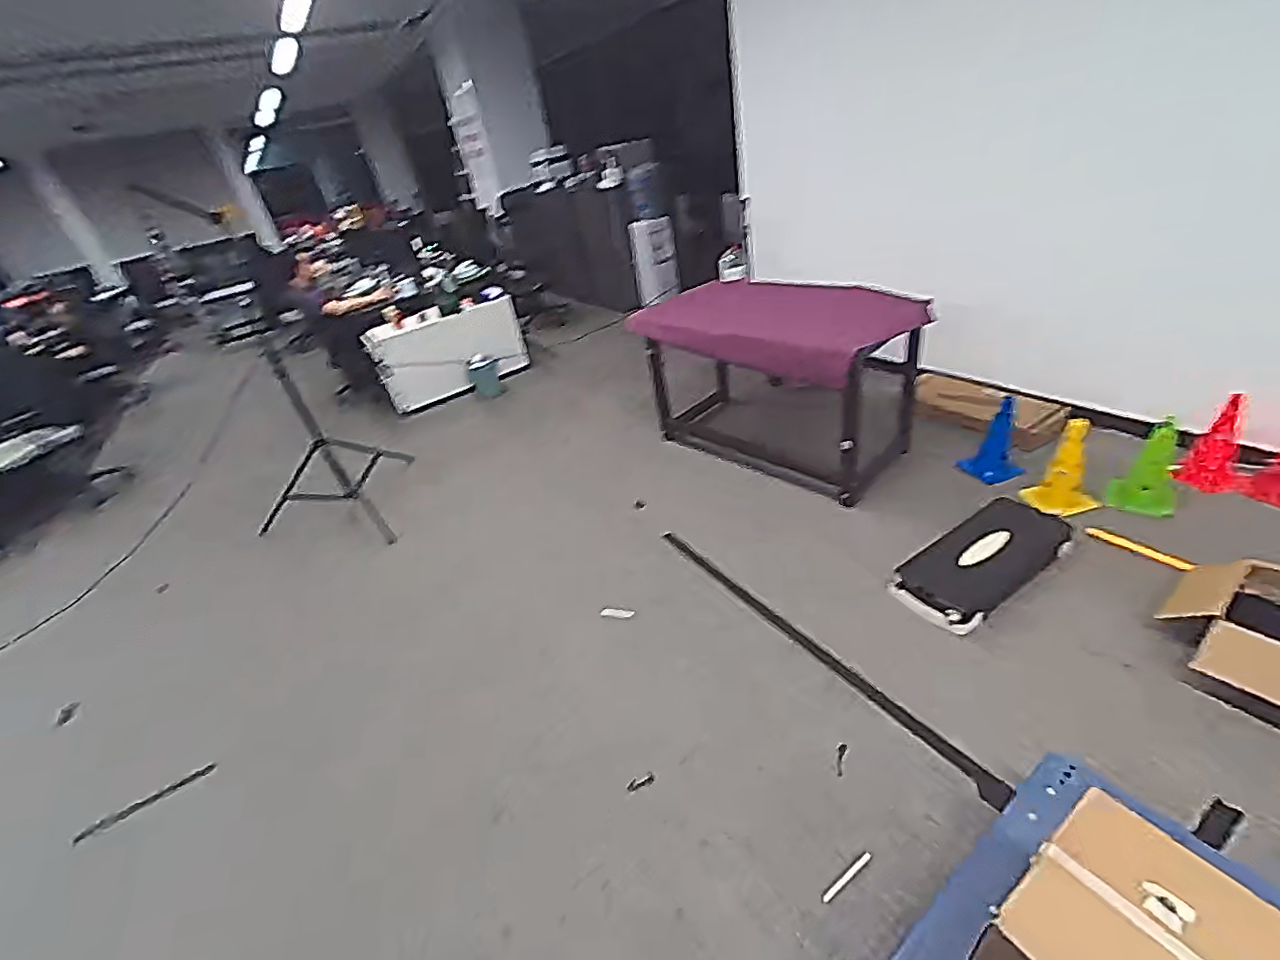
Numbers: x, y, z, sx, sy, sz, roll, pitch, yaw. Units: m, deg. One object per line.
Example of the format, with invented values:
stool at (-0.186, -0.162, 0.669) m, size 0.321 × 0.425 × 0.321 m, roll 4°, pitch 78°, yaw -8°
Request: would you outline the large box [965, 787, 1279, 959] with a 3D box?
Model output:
large box at (0.780, 0.790, 0.812) m, size 0.320 × 0.320 × 0.408 m, roll -27°, pitch 35°, yaw -24°
